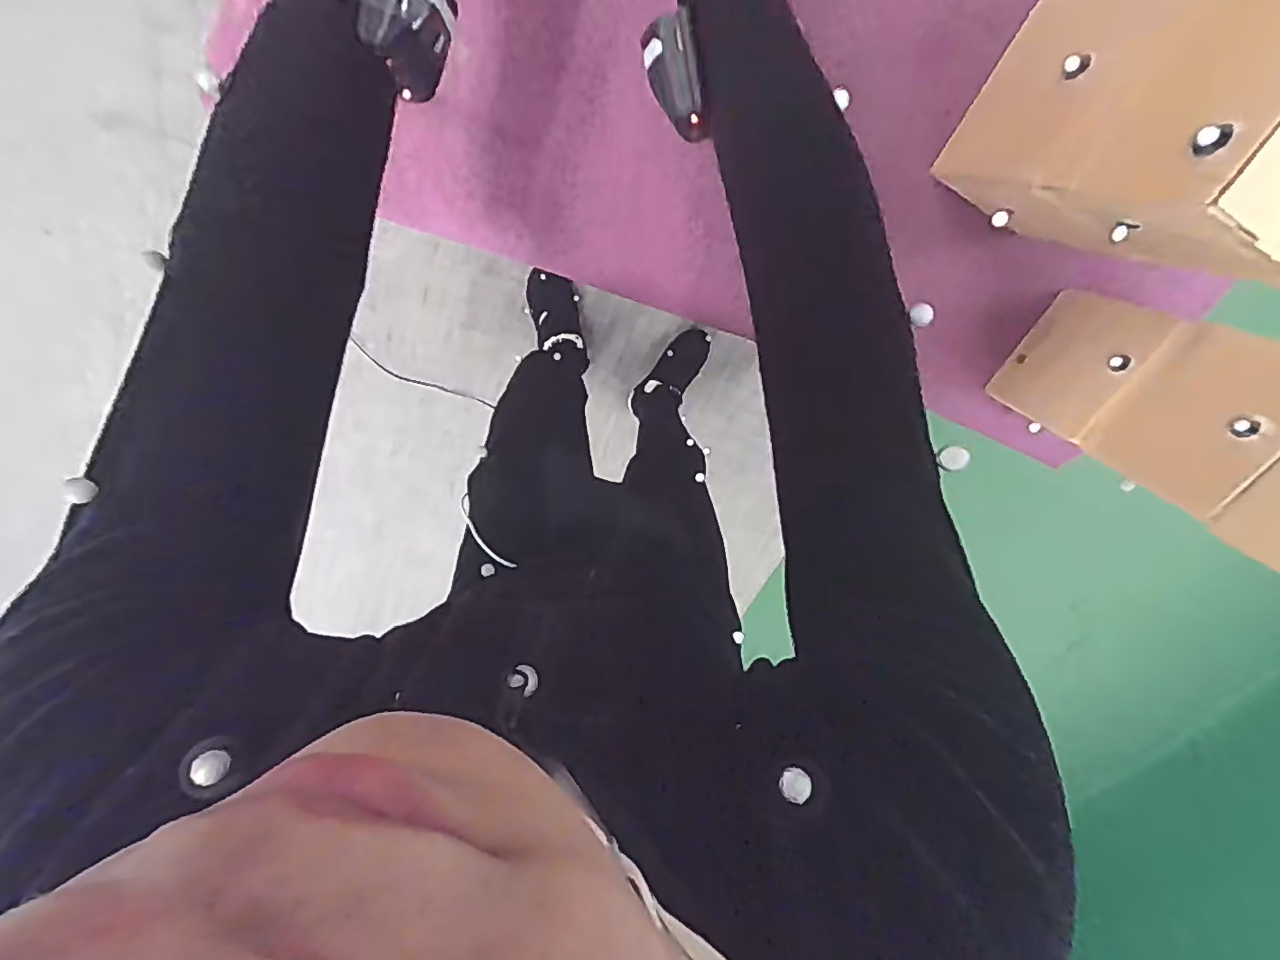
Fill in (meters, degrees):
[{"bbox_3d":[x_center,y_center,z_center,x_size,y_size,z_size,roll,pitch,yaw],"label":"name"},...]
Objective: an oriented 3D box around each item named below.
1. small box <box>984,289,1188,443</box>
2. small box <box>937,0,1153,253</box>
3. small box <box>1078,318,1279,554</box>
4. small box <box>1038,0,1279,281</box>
[{"bbox_3d":[0.627,-0.138,0.731,0.179,0.176,0.168,18,117,-20],"label":"small box"},{"bbox_3d":[0.454,-0.366,0.553,0.168,0.176,0.179,19,118,-20],"label":"small box"},{"bbox_3d":[0.653,-0.053,0.594,0.168,0.176,0.179,19,117,-19],"label":"small box"},{"bbox_3d":[0.472,-0.280,0.417,0.168,0.176,0.179,15,120,-19],"label":"small box"}]
